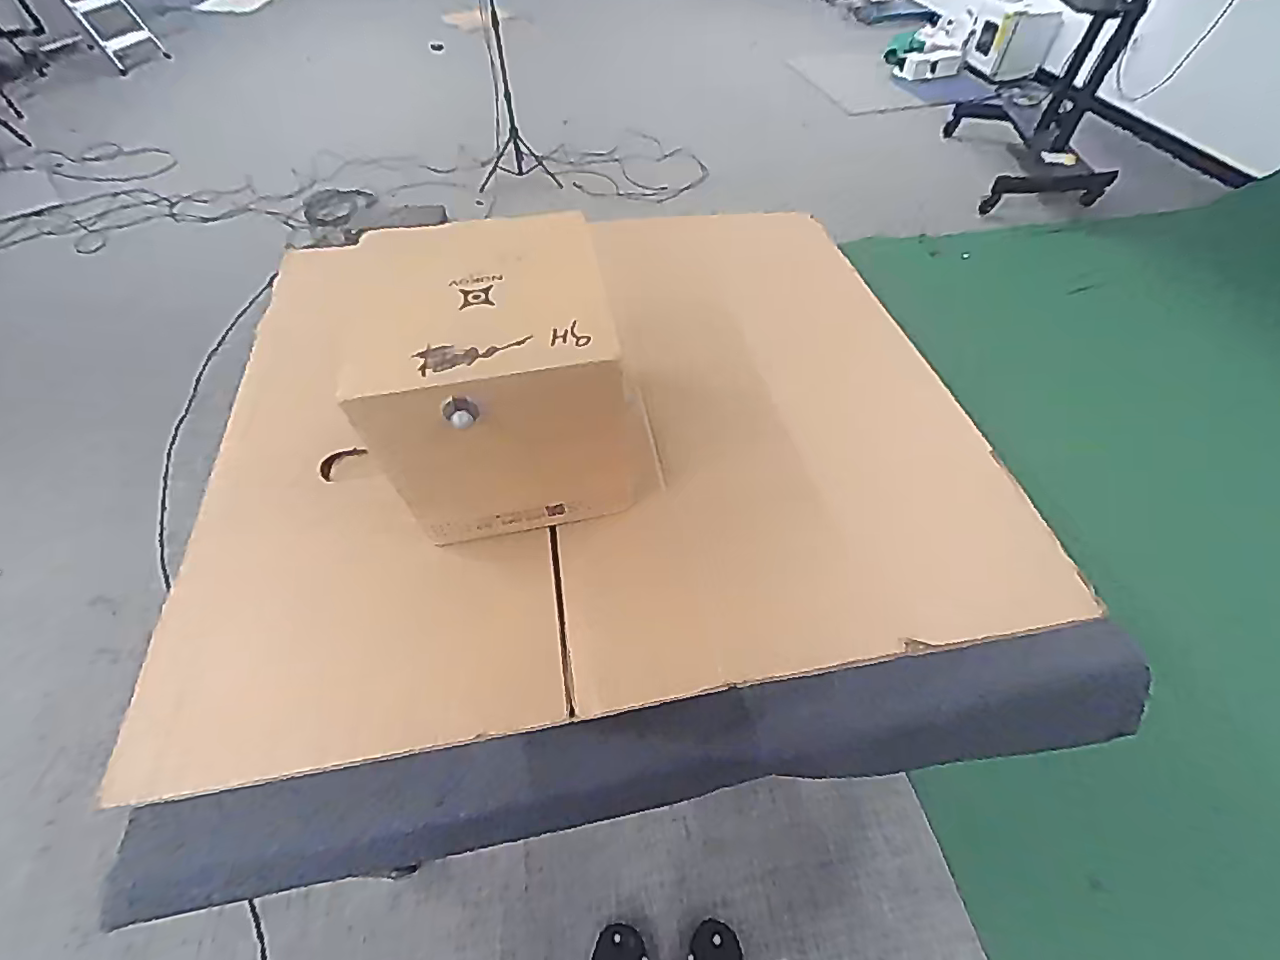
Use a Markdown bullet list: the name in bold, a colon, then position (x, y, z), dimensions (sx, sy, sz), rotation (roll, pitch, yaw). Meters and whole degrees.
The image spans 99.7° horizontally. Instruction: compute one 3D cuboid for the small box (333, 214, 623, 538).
- **small box**: position (-0.109, -0.080, 0.429), dimensions (0.168, 0.176, 0.179), rotation (-10, 54, -5)
